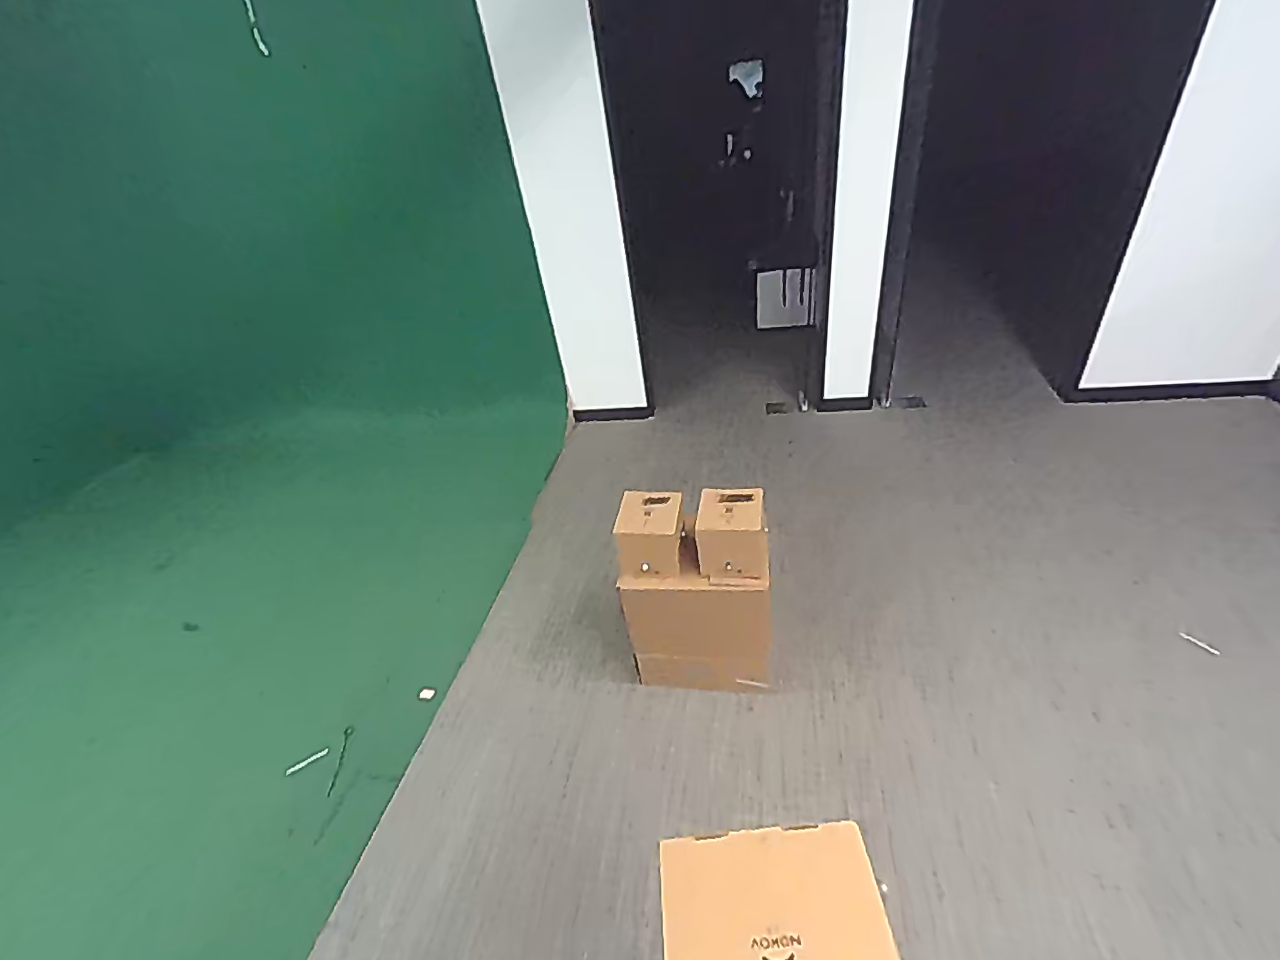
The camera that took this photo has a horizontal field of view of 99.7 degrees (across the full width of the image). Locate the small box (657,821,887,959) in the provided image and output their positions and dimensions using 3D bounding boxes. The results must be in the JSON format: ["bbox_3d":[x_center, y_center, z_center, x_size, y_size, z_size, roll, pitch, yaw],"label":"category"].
[{"bbox_3d":[0.111,0.412,0.438,0.168,0.176,0.179,-9,36,5],"label":"small box"}]

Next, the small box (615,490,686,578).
[{"bbox_3d":[0.036,0.149,1.508,0.168,0.176,0.179,1,39,12],"label":"small box"}]
